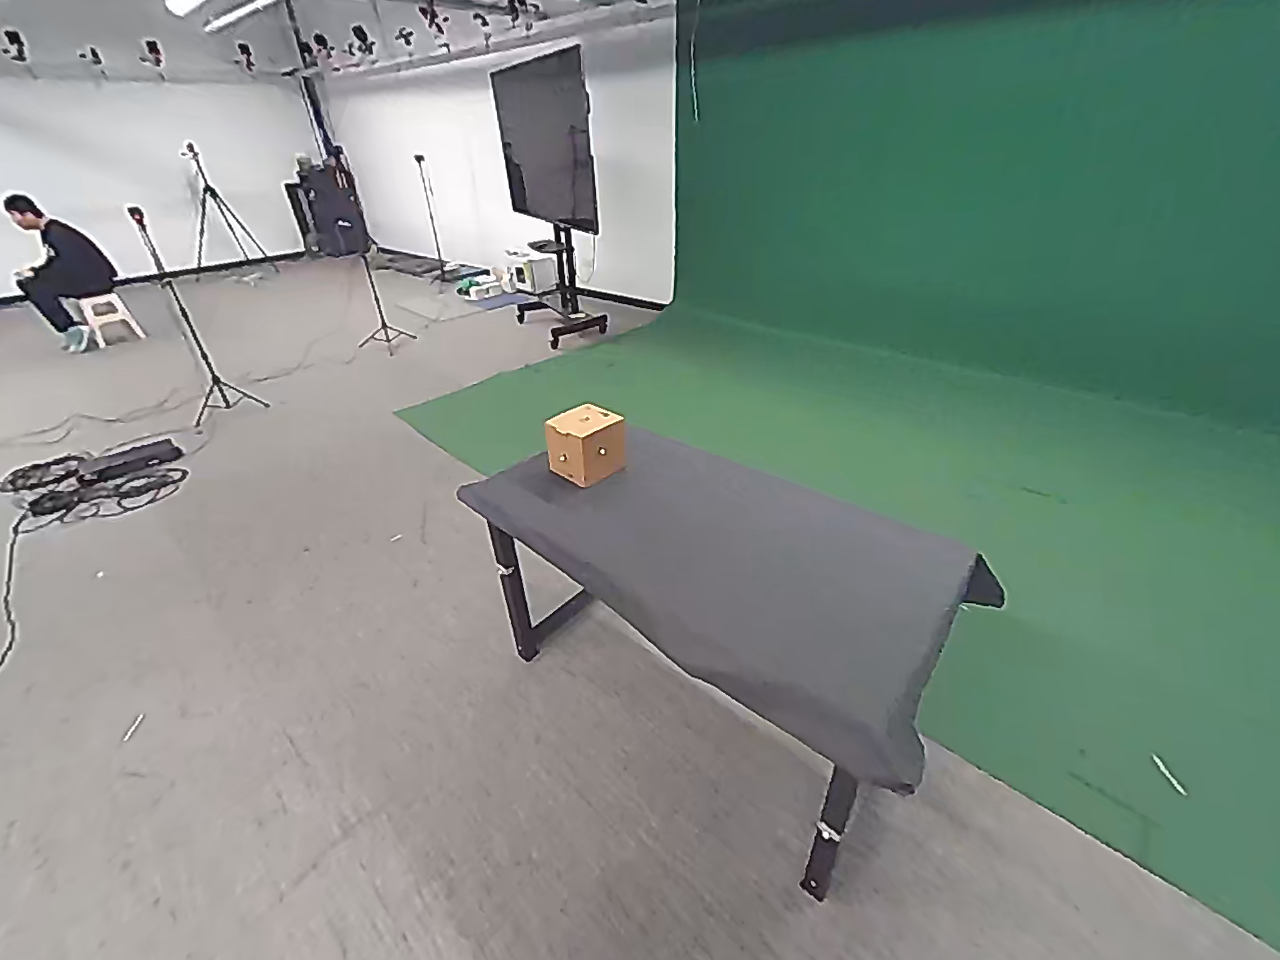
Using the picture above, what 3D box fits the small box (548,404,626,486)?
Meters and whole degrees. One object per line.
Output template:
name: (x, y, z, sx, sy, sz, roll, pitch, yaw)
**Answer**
small box: (-0.153, -0.106, 1.637, 0.168, 0.176, 0.179, 27, 43, 36)
